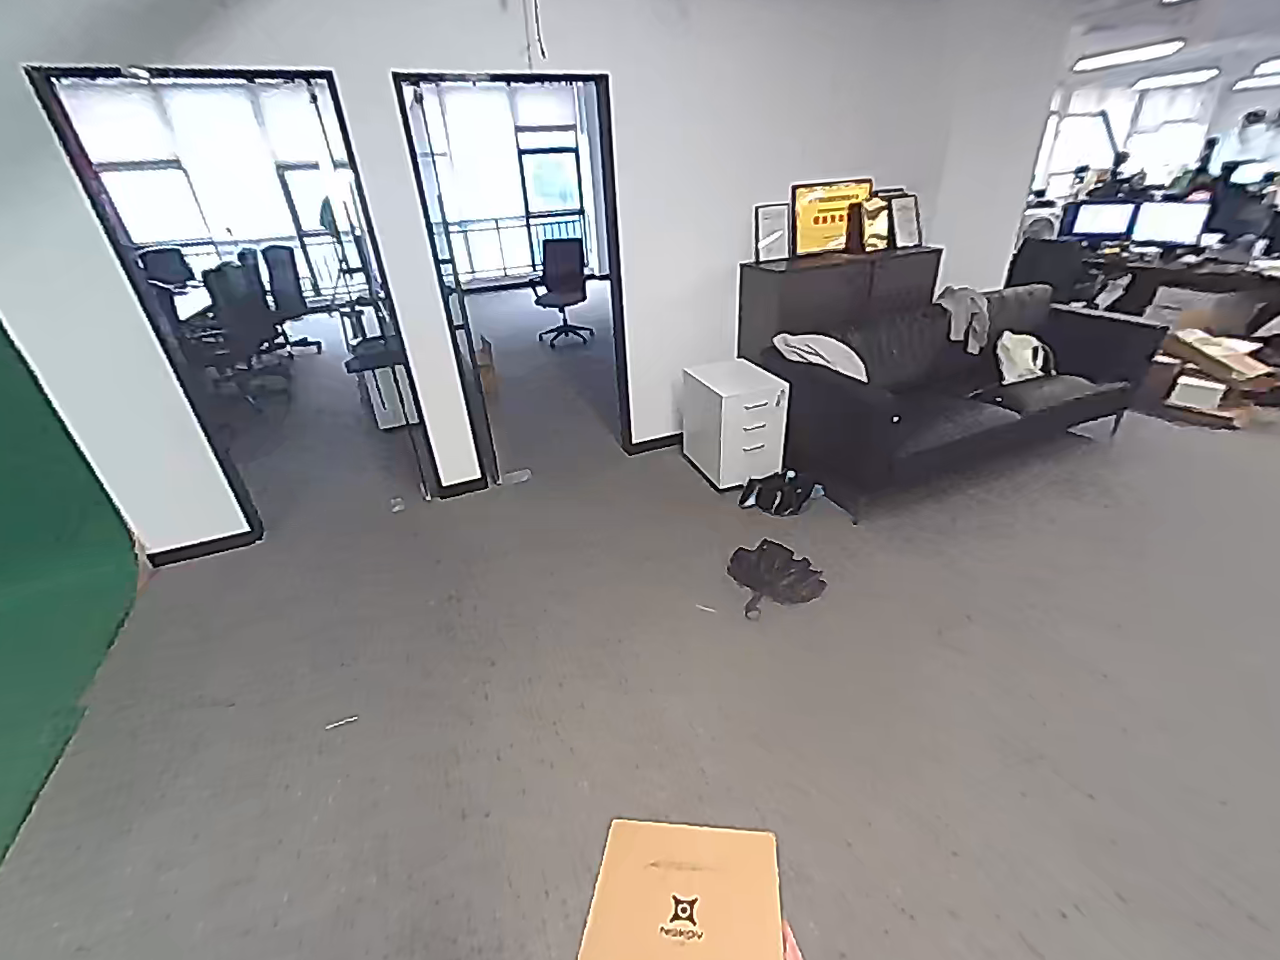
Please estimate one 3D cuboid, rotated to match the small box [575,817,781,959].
[{"bbox_3d":[0.042,0.448,0.483,0.168,0.176,0.179,0,15,10],"label":"small box"}]
